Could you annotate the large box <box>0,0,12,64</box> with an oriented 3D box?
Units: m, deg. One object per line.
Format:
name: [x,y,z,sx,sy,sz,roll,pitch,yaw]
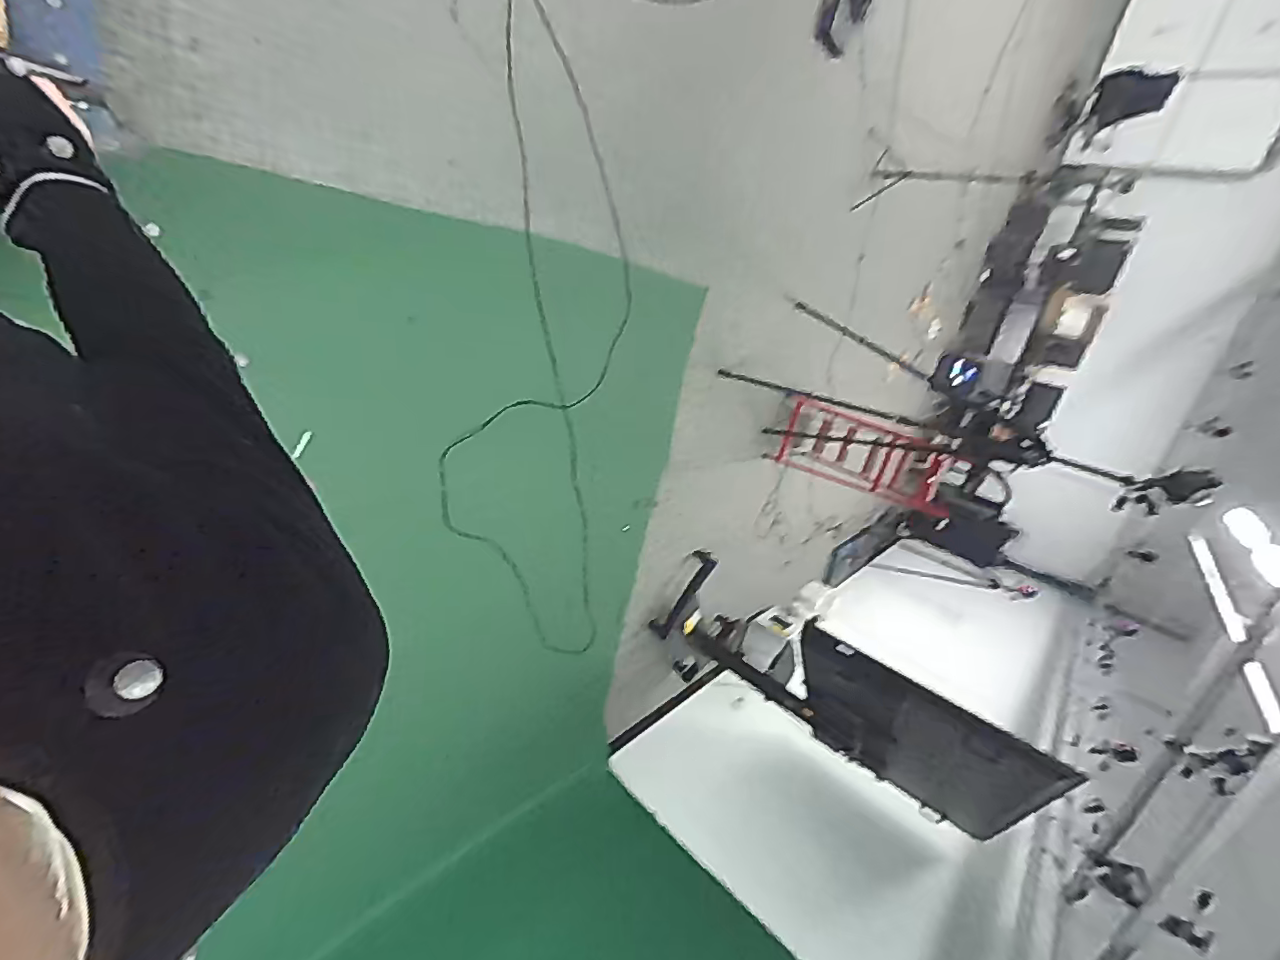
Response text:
large box: [-0.951,-0.748,0.581,0.320,0.320,0.408,-10,119,-50]
